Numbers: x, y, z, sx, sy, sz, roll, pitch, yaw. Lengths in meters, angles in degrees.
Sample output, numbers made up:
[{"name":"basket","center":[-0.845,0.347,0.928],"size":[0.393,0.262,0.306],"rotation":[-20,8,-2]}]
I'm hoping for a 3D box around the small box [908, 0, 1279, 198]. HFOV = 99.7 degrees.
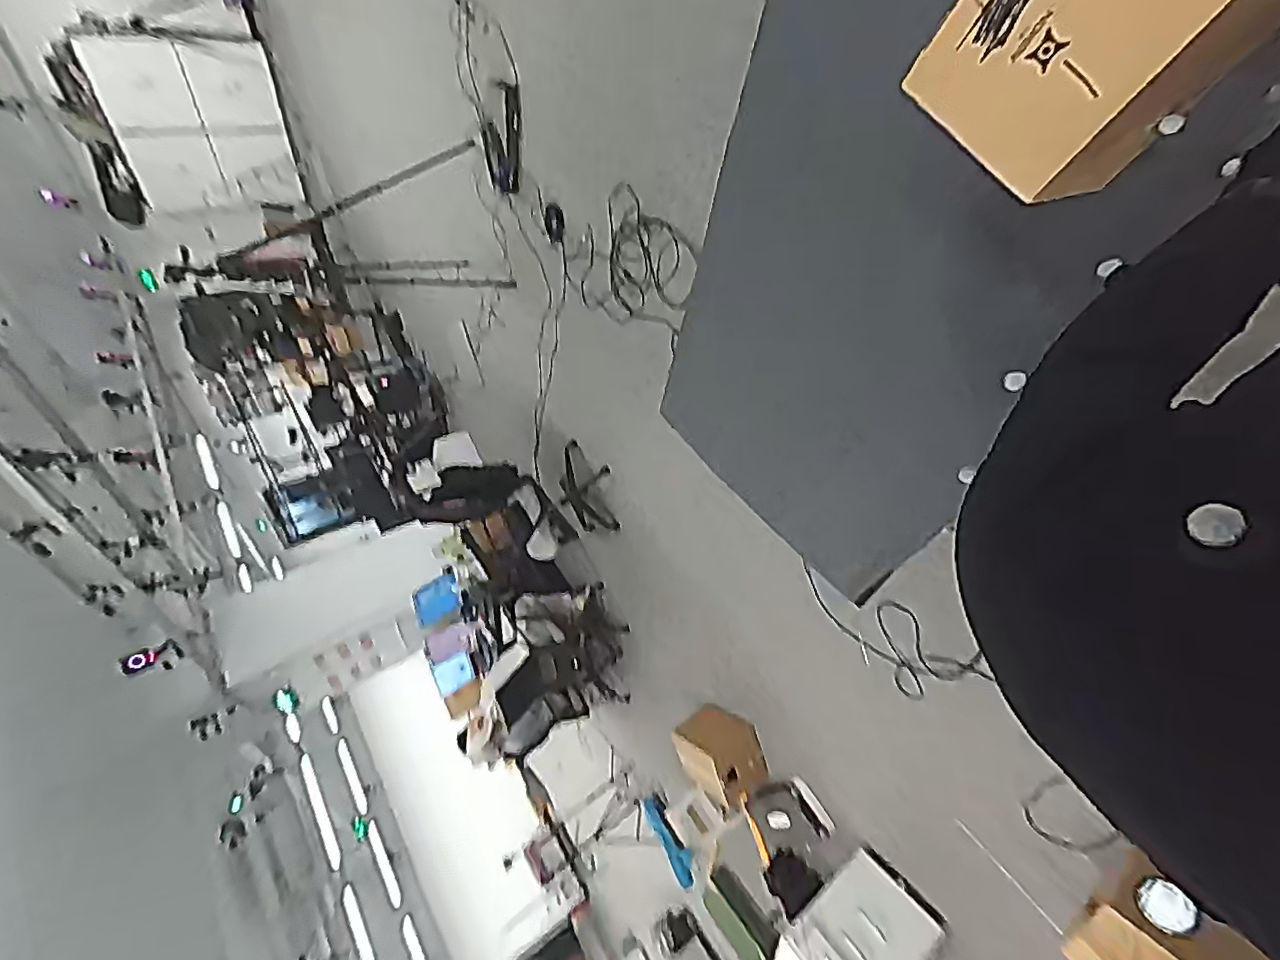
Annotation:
[{"name":"small box","center":[0.394,-0.385,0.481],"size":[0.179,0.176,0.168],"rotation":[57,150,16]}]
